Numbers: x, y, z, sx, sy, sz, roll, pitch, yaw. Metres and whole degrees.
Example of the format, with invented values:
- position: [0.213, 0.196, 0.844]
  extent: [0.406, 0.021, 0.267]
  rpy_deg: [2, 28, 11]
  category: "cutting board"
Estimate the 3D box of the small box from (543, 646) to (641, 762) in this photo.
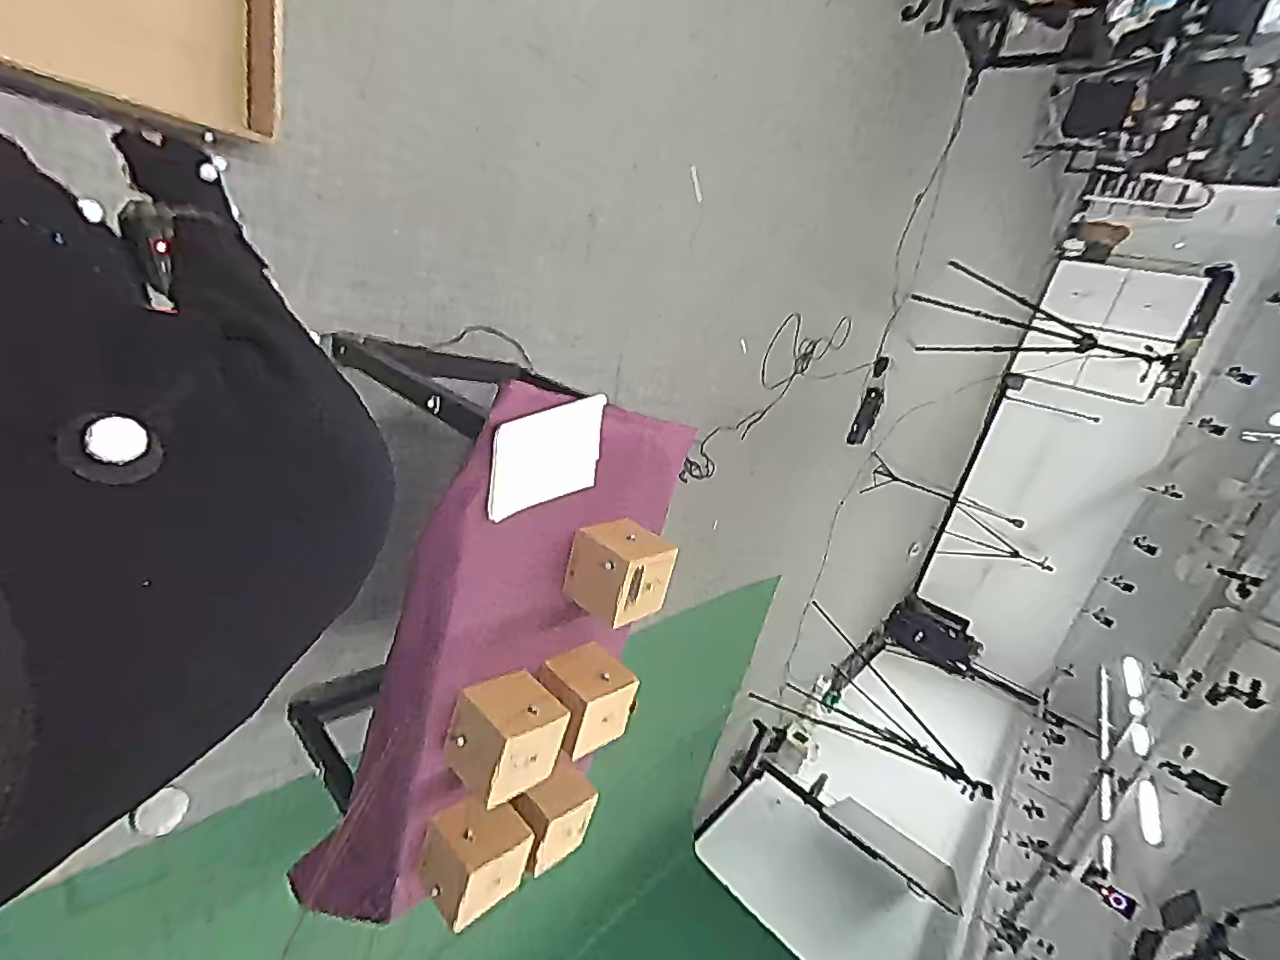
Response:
- position: [-0.131, 0.539, 1.328]
  extent: [0.179, 0.176, 0.168]
  rpy_deg: [-5, 115, -50]
  category: "small box"

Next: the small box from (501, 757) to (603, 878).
- position: [-0.231, 0.858, 1.395]
  extent: [0.179, 0.176, 0.168]
  rpy_deg: [7, 106, -52]
  category: "small box"

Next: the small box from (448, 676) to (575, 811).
- position: [-0.273, 0.545, 1.149]
  extent: [0.179, 0.176, 0.168]
  rpy_deg: [4, 108, -52]
  category: "small box"
